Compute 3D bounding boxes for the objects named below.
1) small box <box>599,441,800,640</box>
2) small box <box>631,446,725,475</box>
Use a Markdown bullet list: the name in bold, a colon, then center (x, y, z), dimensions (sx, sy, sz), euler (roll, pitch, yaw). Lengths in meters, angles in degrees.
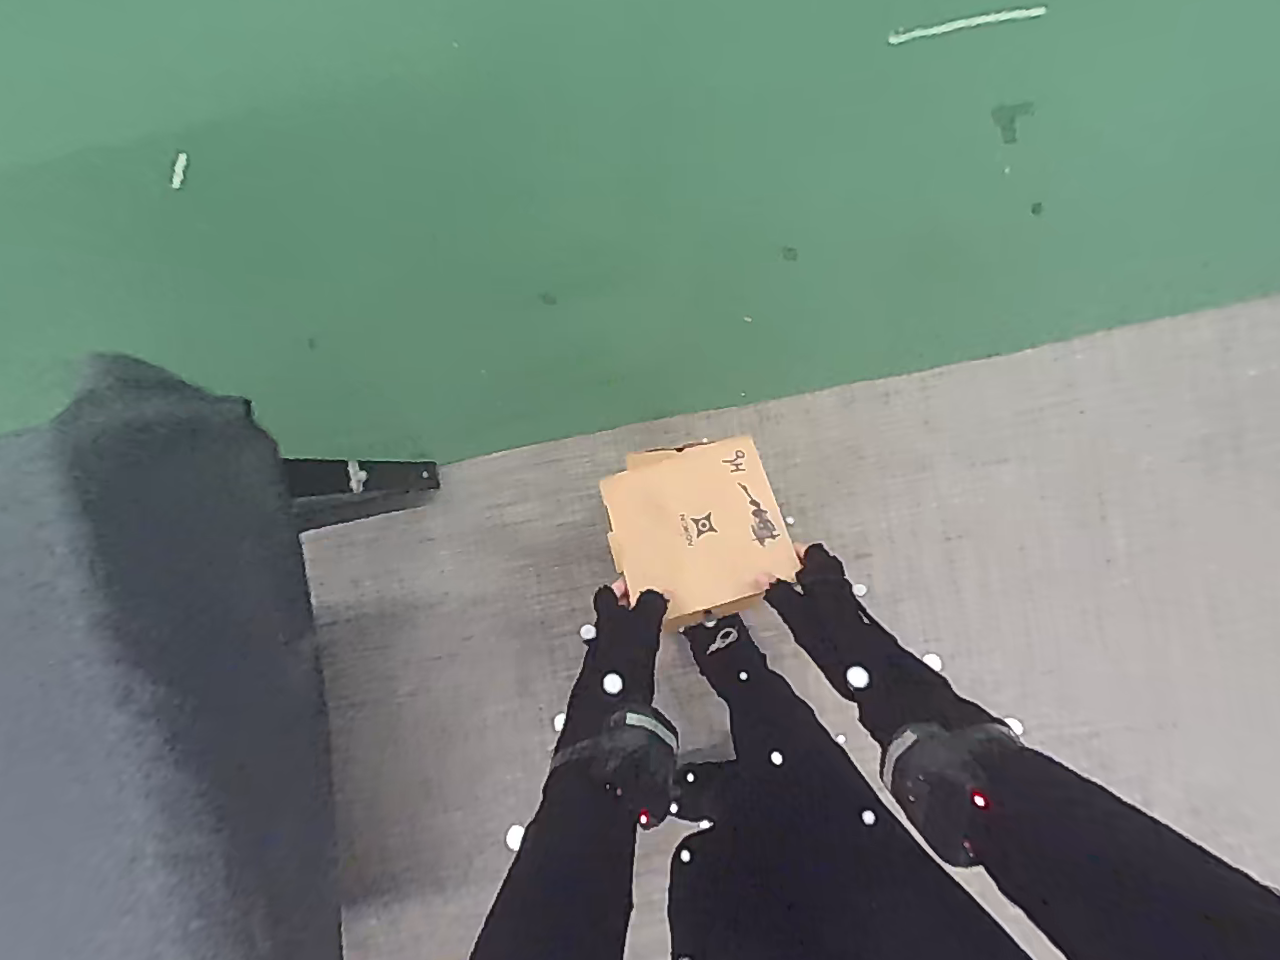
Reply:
- **small box**: center (0.070, 0.081, 0.627), dimensions (0.179, 0.176, 0.168), euler (-17, 69, 4)
- **small box**: center (0.077, 0.044, 0.867), dimensions (0.168, 0.176, 0.179), euler (-7, 91, 3)
